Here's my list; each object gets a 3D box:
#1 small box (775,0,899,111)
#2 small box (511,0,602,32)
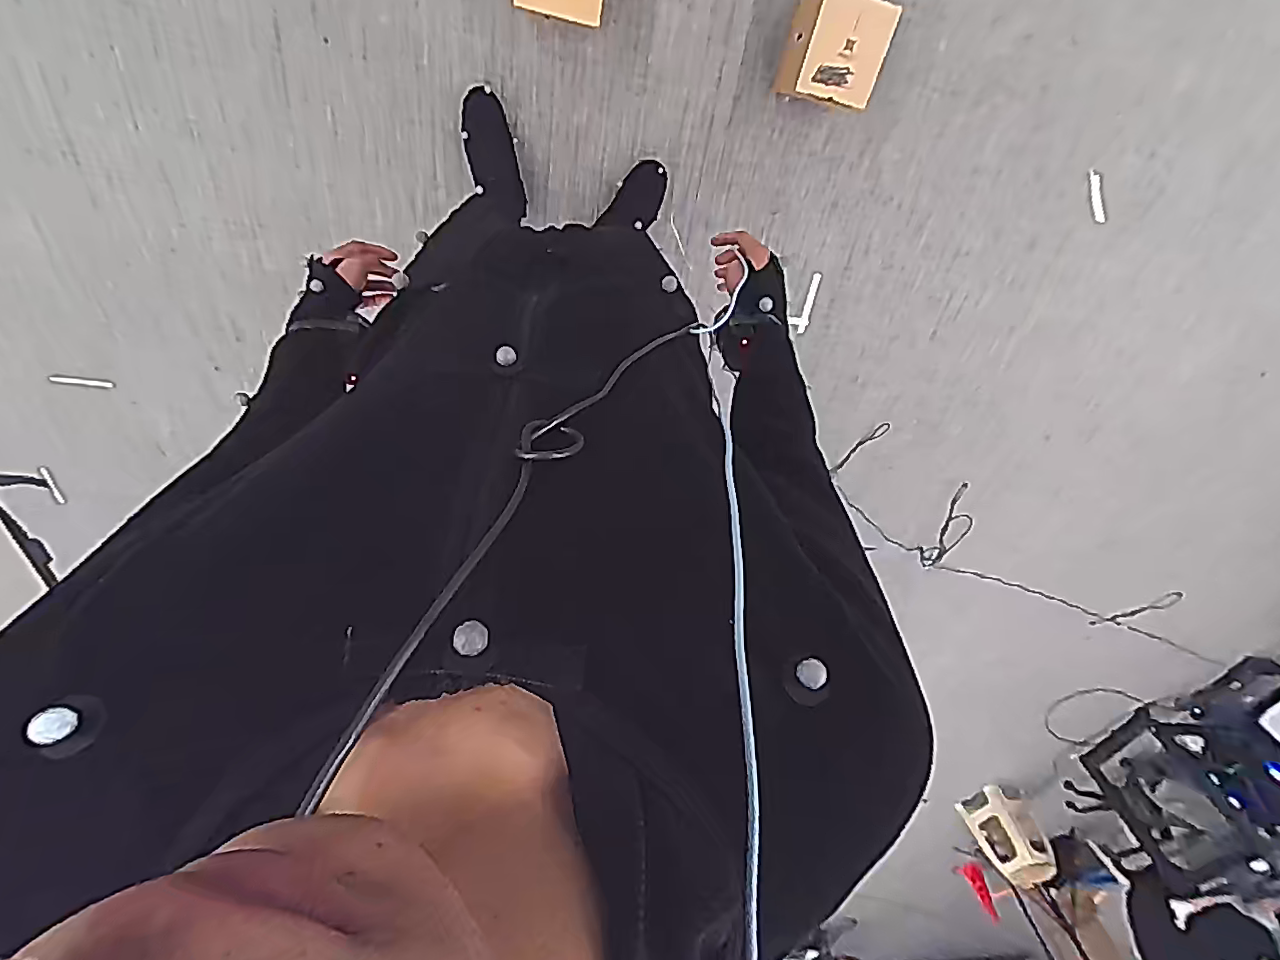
[{"bbox_3d":[0.407,-0.914,1.154,0.168,0.176,0.179,7,124,-12],"label":"small box"},{"bbox_3d":[-0.150,-0.994,1.041,0.168,0.176,0.179,7,124,-10],"label":"small box"}]
